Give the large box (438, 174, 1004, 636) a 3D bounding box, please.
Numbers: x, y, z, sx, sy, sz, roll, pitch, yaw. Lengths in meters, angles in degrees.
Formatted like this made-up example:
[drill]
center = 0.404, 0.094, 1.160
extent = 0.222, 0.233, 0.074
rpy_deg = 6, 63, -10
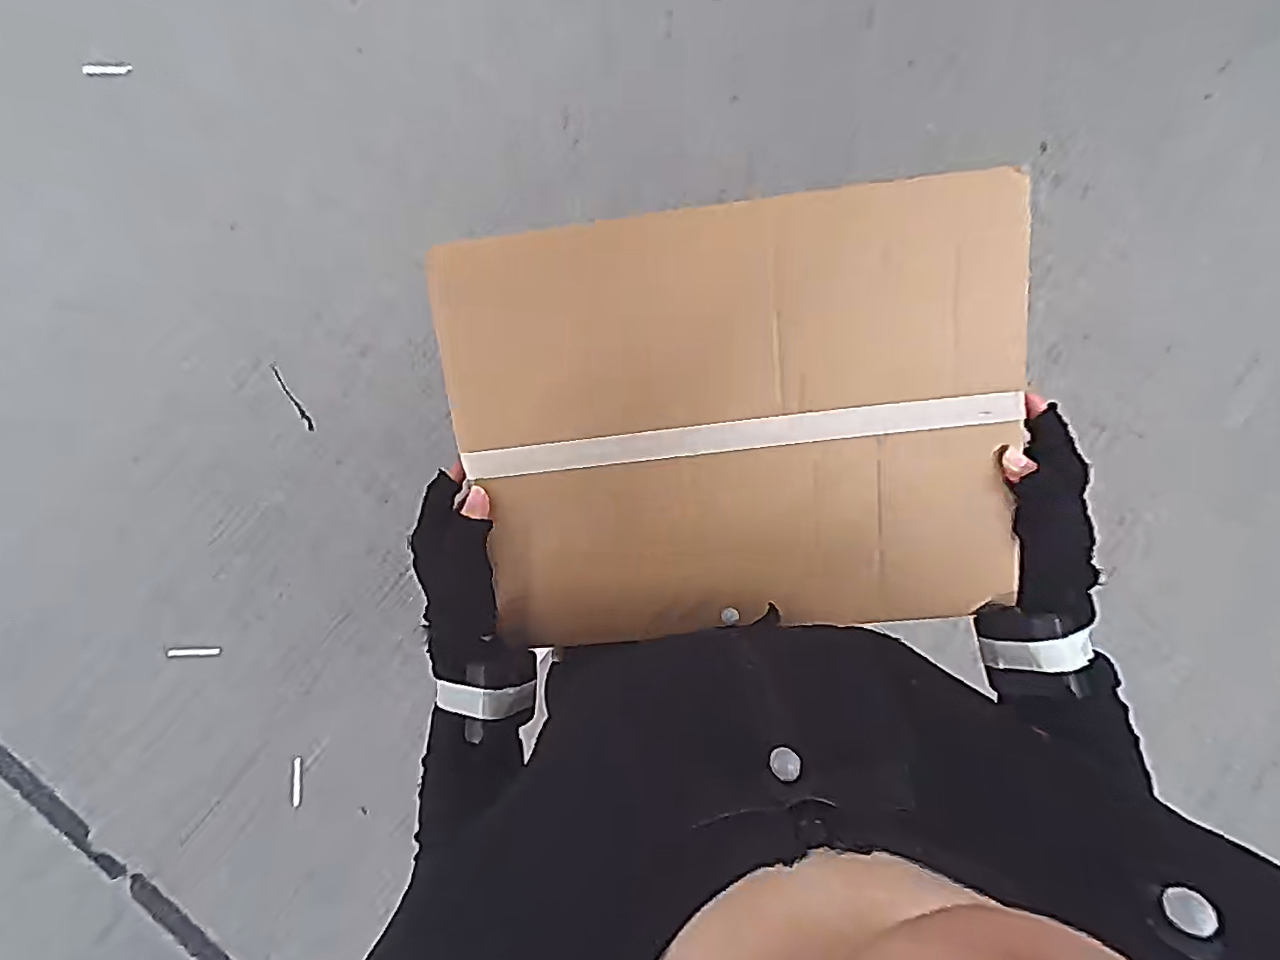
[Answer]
[large box]
center = 0.072, -0.070, 0.555
extent = 0.408, 0.320, 0.320
rpy_deg = -6, 104, 4
